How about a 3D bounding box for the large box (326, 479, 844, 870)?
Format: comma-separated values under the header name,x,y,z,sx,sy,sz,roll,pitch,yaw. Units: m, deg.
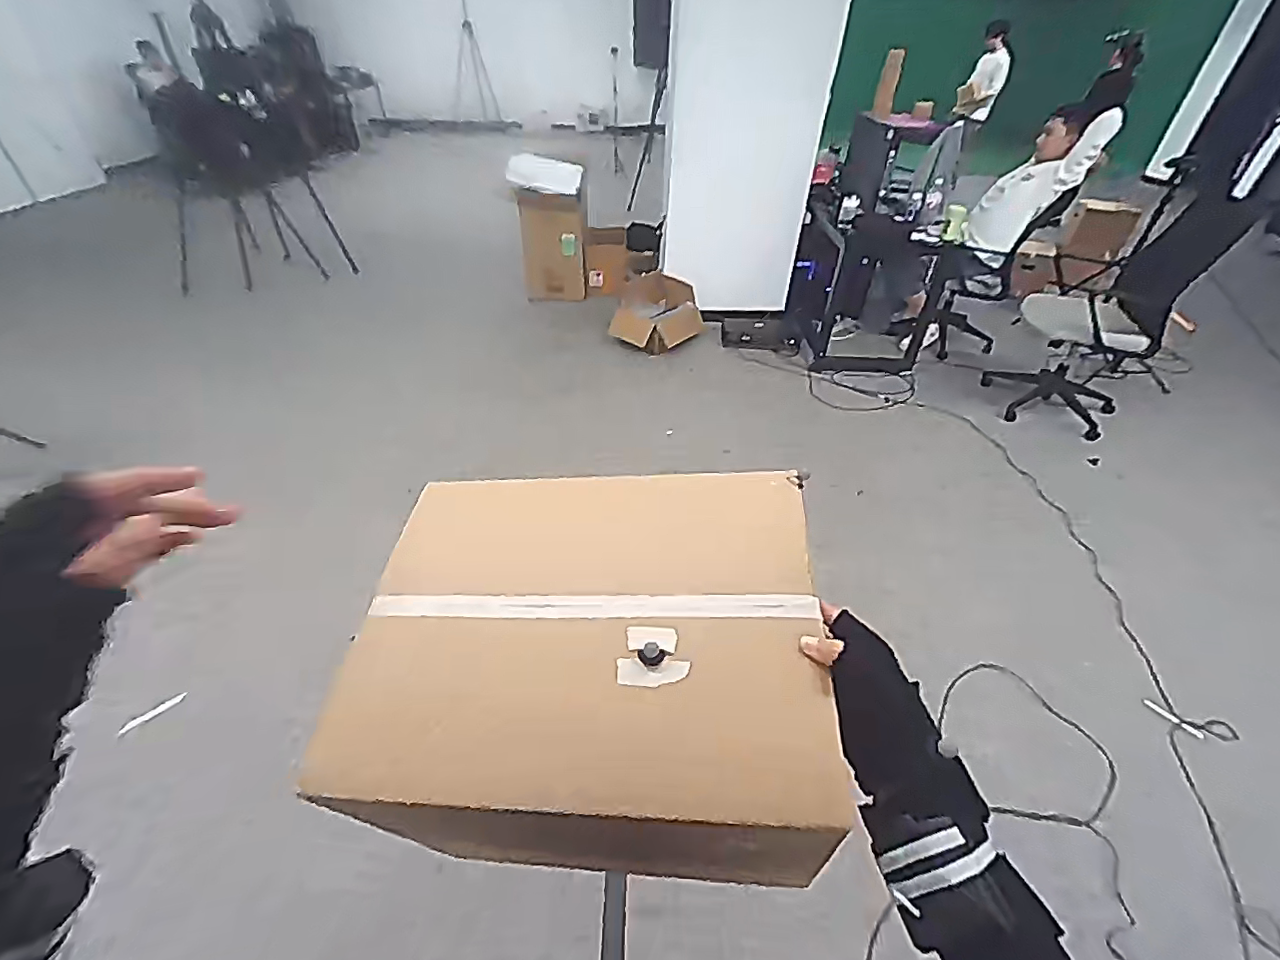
name,x,y,z,sx,sy,sz,roll,pitch,yaw
large box,-0.026,0.217,0.606,0.408,0.320,0.320,-1,48,8
